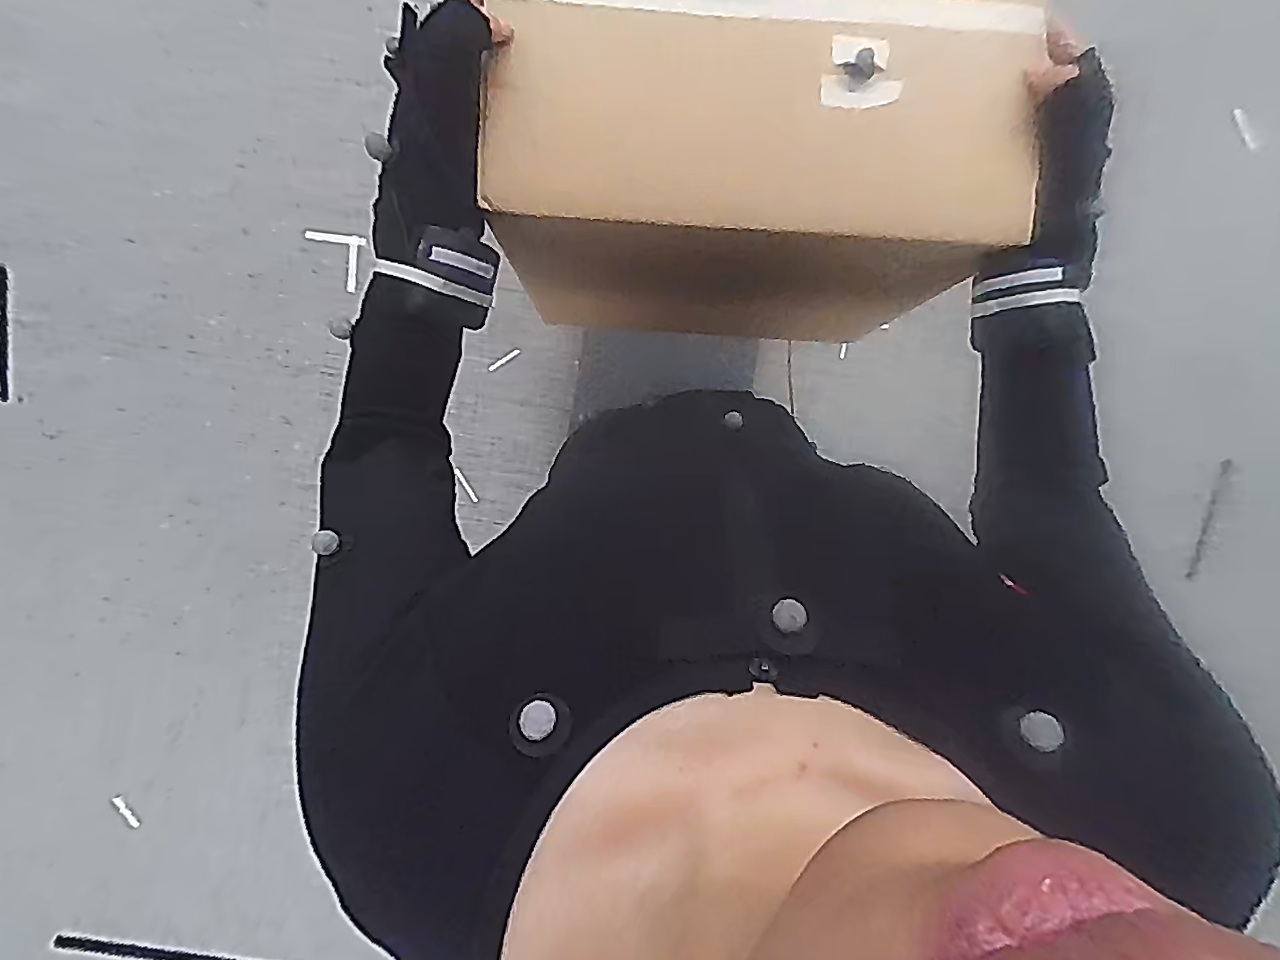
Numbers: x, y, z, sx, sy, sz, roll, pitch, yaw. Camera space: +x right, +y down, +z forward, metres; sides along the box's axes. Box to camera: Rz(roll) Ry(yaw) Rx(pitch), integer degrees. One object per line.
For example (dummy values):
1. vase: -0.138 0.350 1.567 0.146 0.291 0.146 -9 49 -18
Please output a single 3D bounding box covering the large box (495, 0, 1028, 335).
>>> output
1. large box: 0.088 -0.346 0.555 0.408 0.320 0.320 3 91 -2
